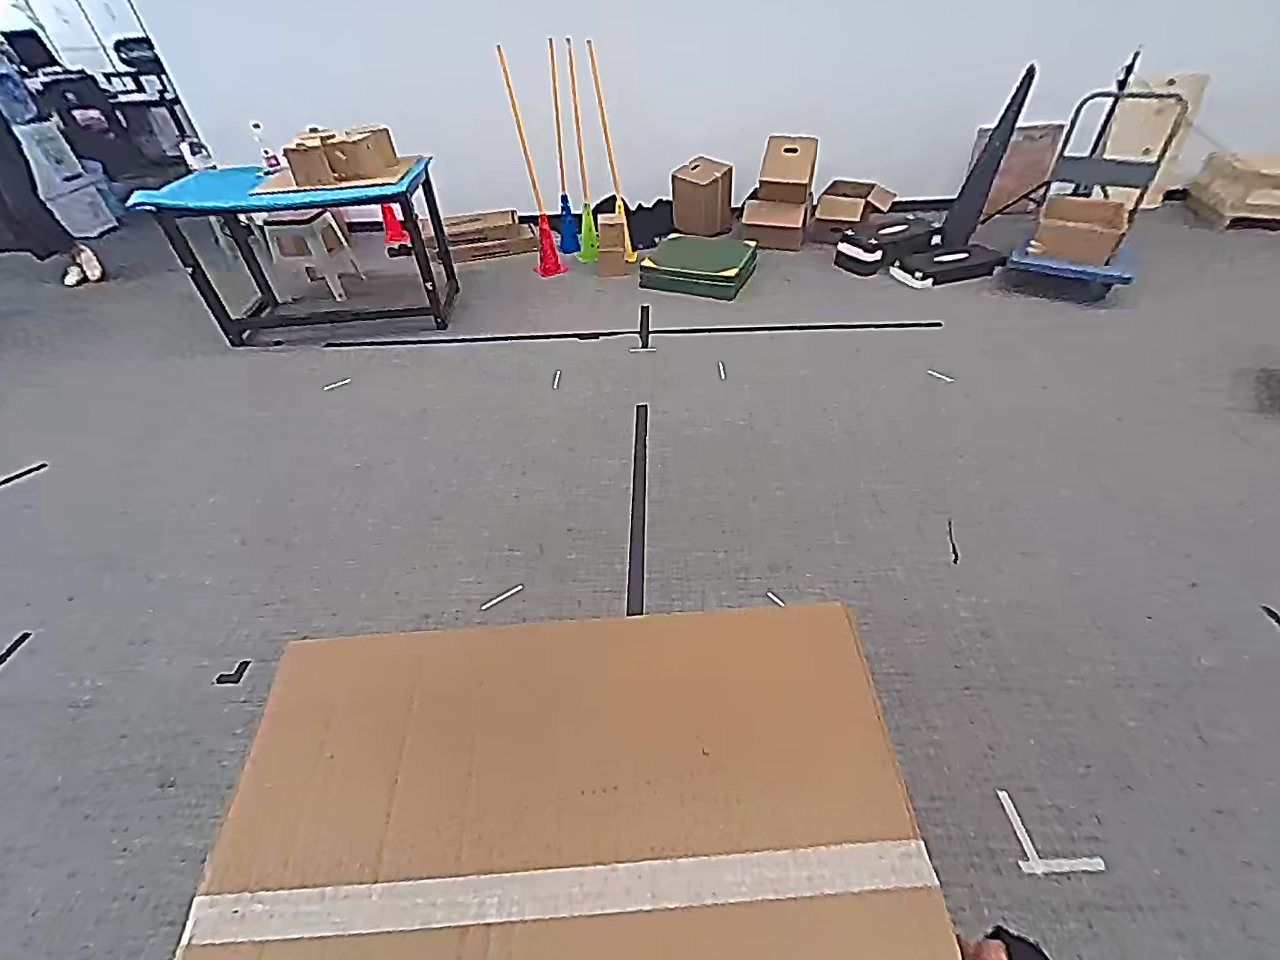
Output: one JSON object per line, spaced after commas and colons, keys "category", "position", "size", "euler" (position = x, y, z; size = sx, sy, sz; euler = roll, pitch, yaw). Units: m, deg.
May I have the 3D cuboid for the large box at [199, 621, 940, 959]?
{"category": "large box", "position": [-0.035, 0.330, 0.419], "size": [0.408, 0.320, 0.320], "euler": [-4, 51, 0]}
